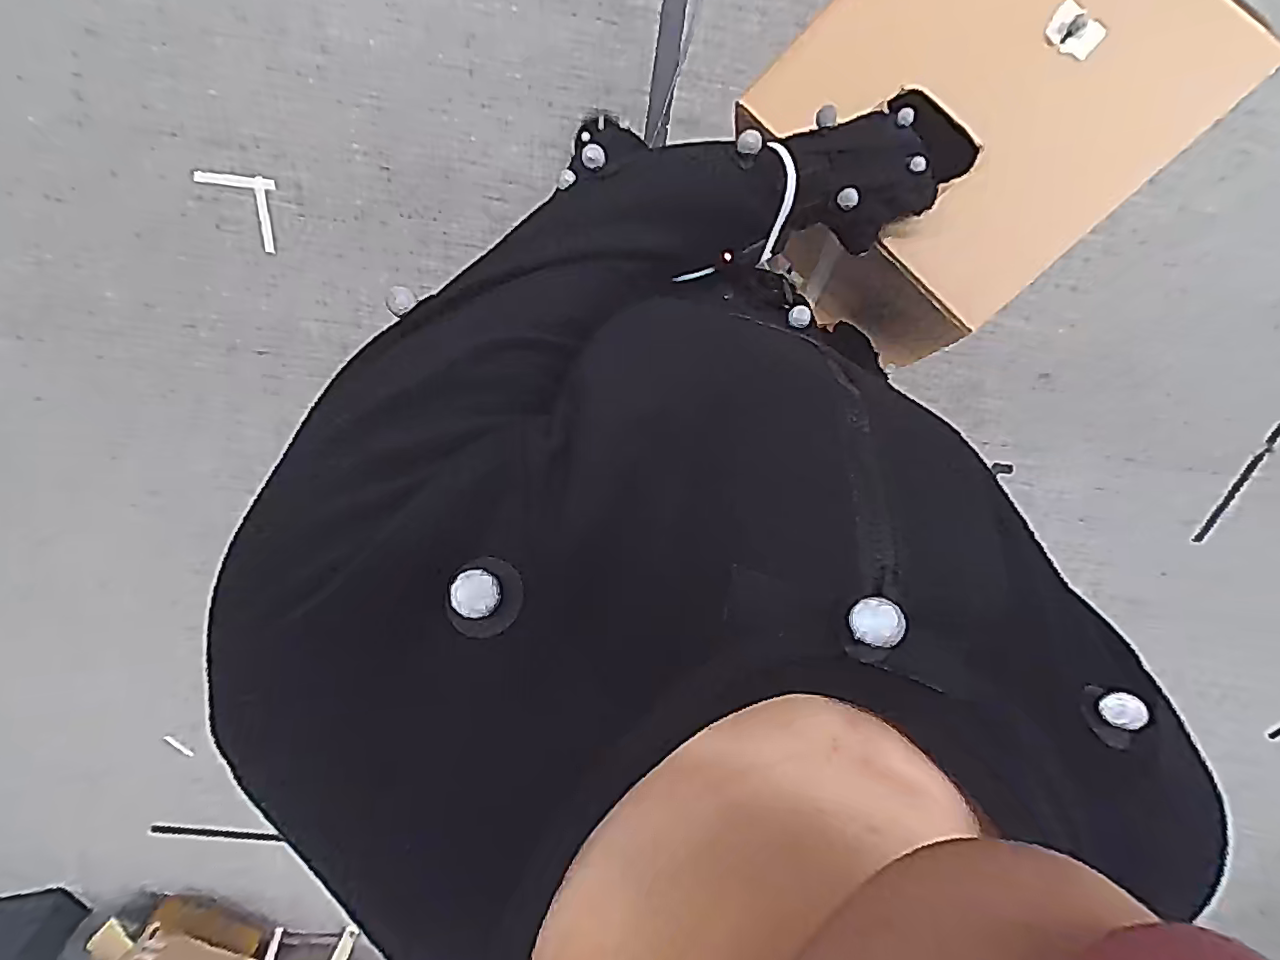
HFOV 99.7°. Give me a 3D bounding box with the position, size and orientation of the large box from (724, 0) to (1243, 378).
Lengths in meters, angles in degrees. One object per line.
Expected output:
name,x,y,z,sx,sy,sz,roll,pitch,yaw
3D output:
large box,0.332,-0.366,0.669,0.320,0.408,0.320,-42,84,12
